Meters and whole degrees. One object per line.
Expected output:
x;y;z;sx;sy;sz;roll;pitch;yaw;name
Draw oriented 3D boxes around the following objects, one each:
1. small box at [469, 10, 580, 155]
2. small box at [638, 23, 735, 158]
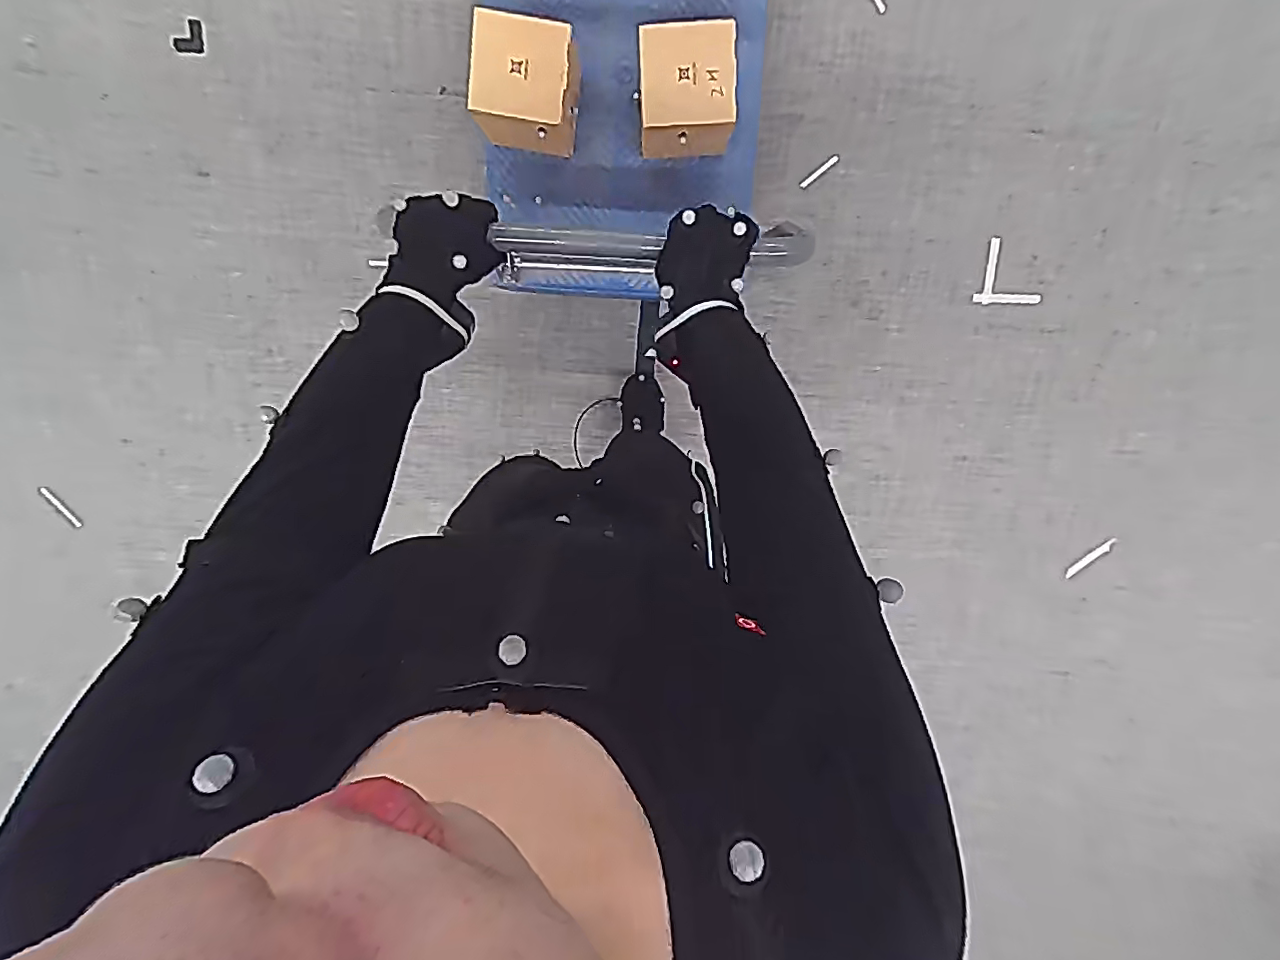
-0.219;-0.764;1.060;0.179;0.176;0.168;8;103;-3;small box
0.088;-0.753;1.062;0.179;0.176;0.168;-2;104;1;small box
